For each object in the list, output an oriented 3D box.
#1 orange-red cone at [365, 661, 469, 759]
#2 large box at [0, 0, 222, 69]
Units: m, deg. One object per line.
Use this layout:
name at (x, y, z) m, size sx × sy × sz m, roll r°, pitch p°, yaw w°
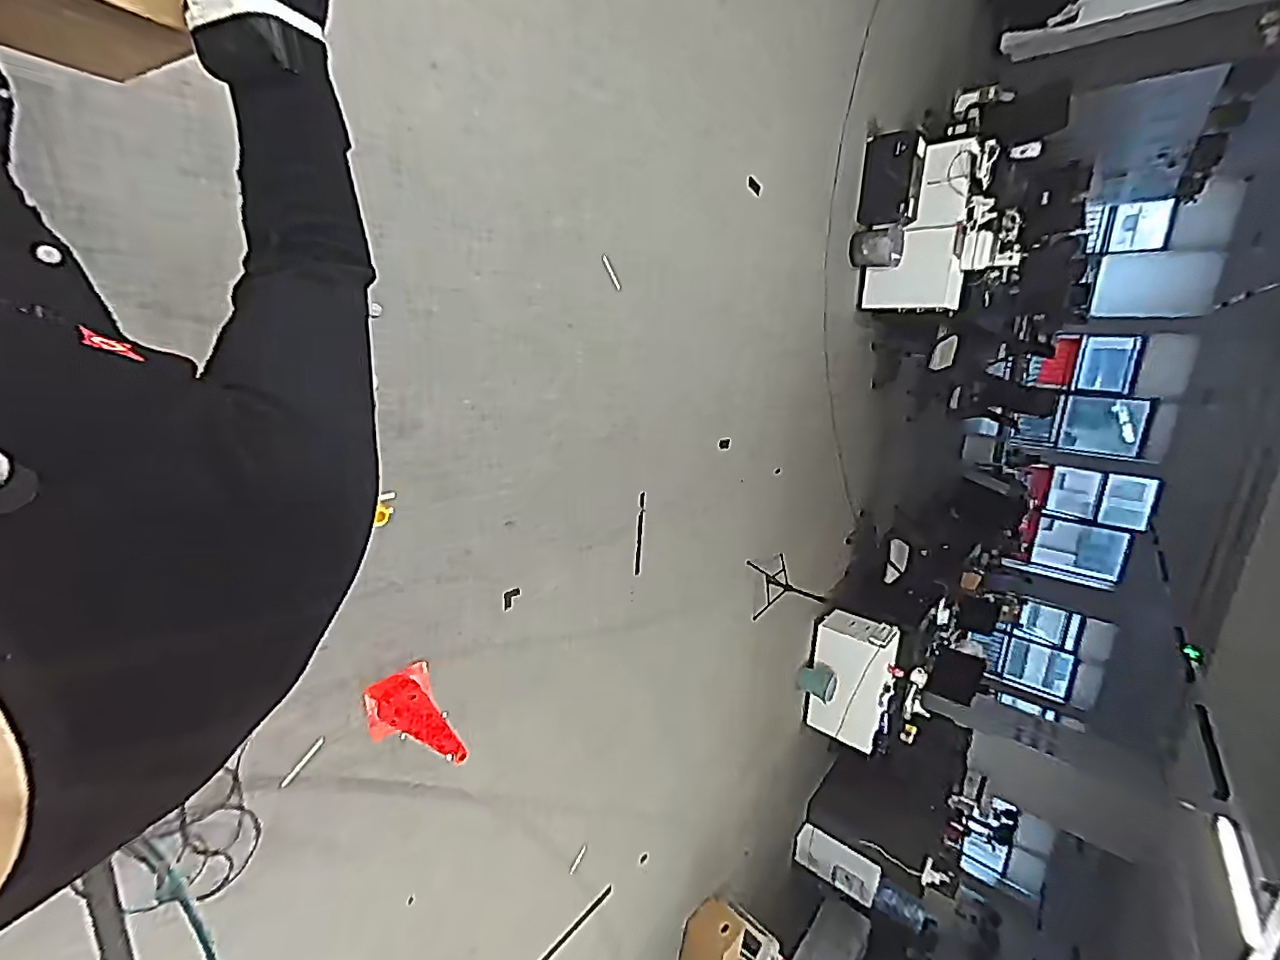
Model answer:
orange-red cone at (-0.623, 0.717, 1.588) m, size 0.198 × 0.360 × 0.199 m, roll -19°, pitch 114°, yaw -48°
large box at (-0.504, -0.473, 0.260) m, size 0.408 × 0.320 × 0.320 m, roll -13°, pitch 119°, yaw -51°
